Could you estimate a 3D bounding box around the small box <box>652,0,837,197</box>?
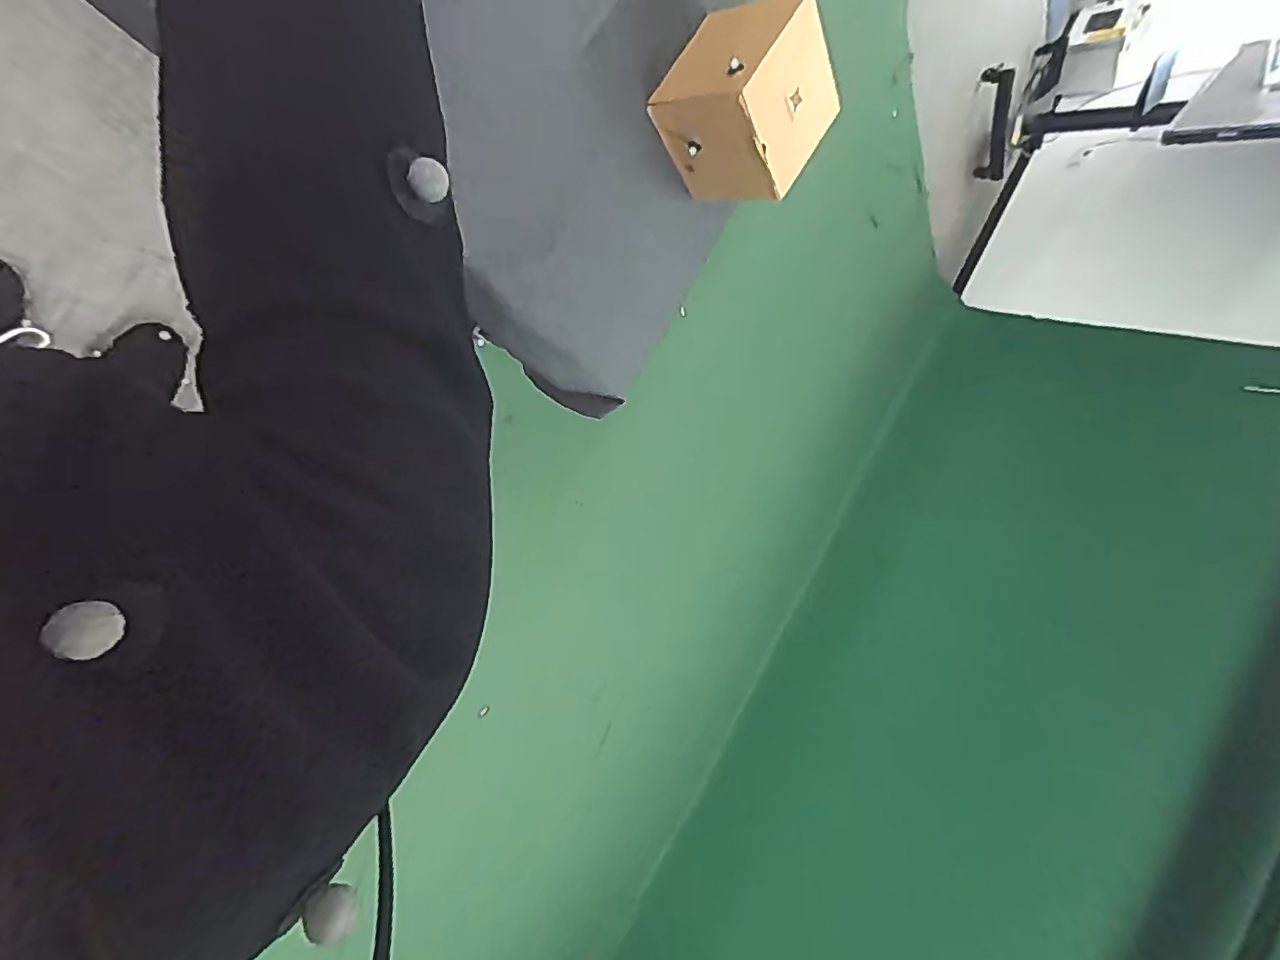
[{"bbox_3d":[0.148,-0.538,0.768,0.179,0.176,0.168,-57,141,-5],"label":"small box"}]
